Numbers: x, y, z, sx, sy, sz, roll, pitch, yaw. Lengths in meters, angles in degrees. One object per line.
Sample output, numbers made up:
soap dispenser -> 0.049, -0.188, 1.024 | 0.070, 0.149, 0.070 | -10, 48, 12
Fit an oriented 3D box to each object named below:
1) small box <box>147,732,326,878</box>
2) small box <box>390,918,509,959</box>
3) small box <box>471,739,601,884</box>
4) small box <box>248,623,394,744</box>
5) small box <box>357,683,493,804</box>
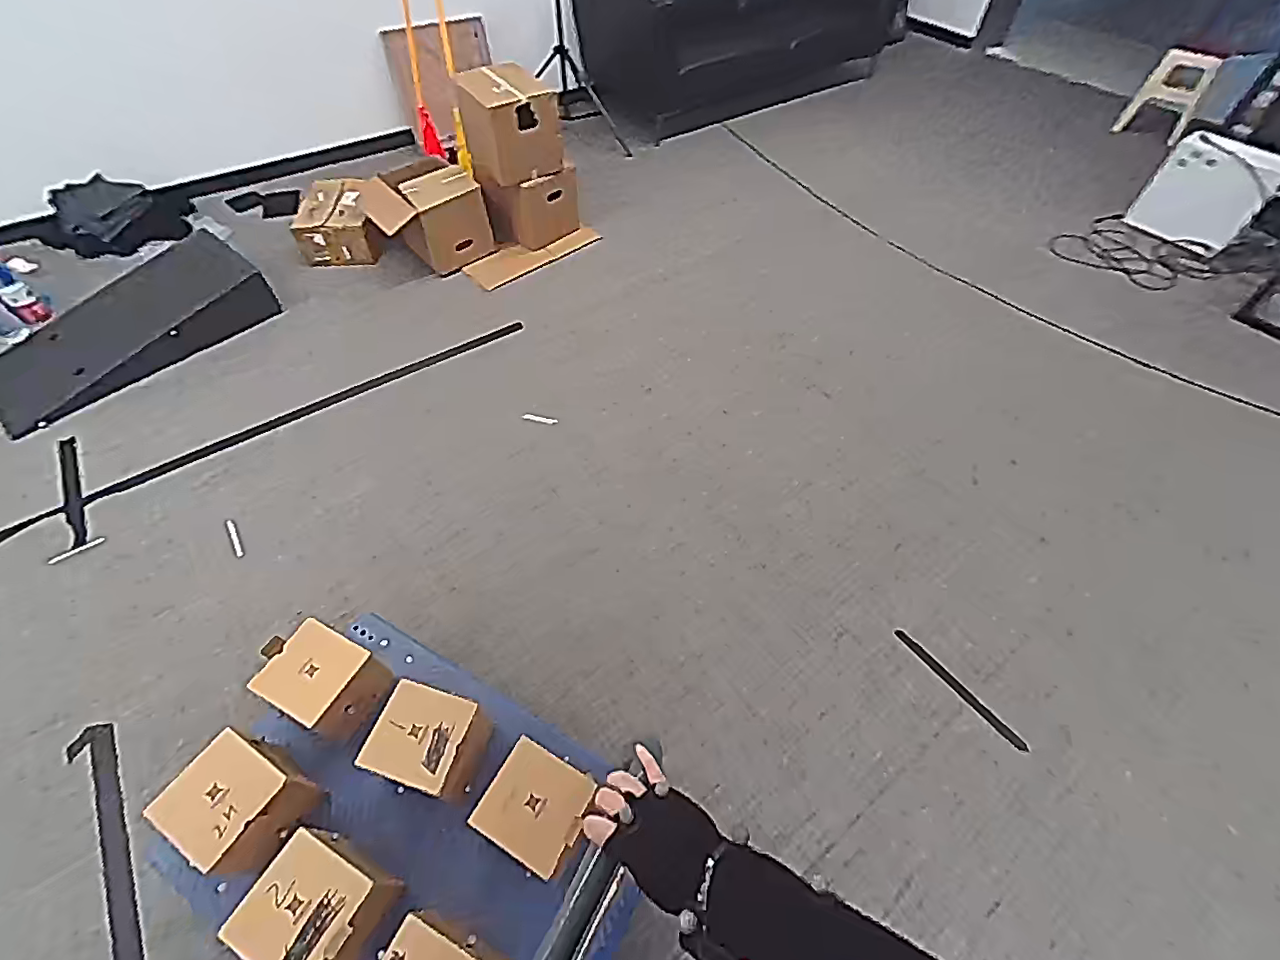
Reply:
small box -> -0.744, 0.614, 1.017 | 0.179, 0.176, 0.168 | 27, 57, 16
small box -> -0.324, 0.838, 0.868 | 0.179, 0.176, 0.168 | 22, 54, 13
small box -> -0.186, 0.631, 1.031 | 0.179, 0.176, 0.168 | 25, 55, 16
small box -> -0.665, 0.440, 1.154 | 0.179, 0.176, 0.168 | 22, 56, 14
small box -> -0.418, 0.536, 1.091 | 0.179, 0.176, 0.168 | 14, 54, 9
